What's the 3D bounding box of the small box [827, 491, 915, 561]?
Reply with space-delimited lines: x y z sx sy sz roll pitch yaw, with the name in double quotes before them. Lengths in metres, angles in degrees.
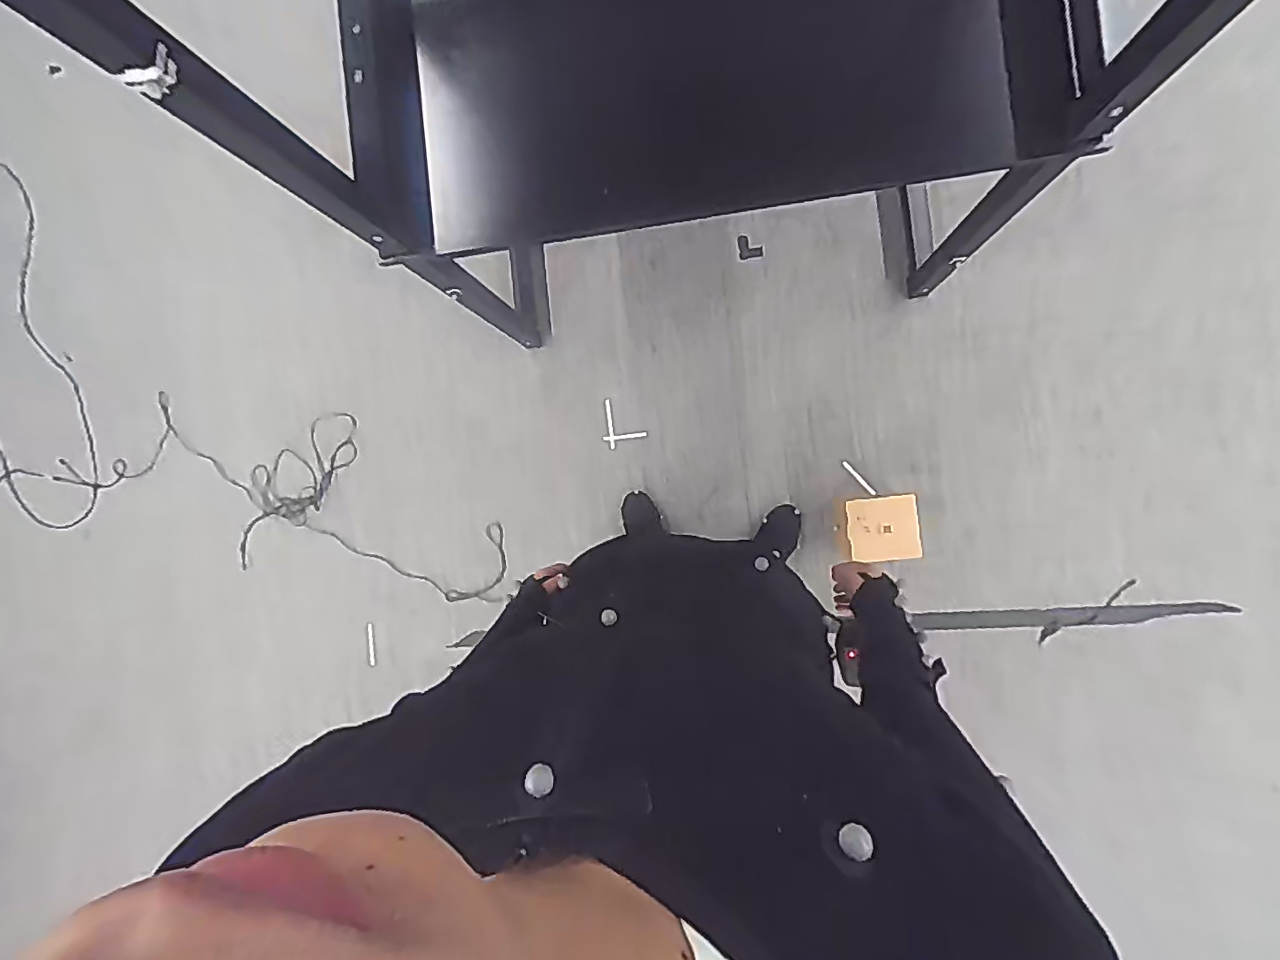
"small box" 0.625 0.122 1.478 0.179 0.176 0.168 -6 89 9
